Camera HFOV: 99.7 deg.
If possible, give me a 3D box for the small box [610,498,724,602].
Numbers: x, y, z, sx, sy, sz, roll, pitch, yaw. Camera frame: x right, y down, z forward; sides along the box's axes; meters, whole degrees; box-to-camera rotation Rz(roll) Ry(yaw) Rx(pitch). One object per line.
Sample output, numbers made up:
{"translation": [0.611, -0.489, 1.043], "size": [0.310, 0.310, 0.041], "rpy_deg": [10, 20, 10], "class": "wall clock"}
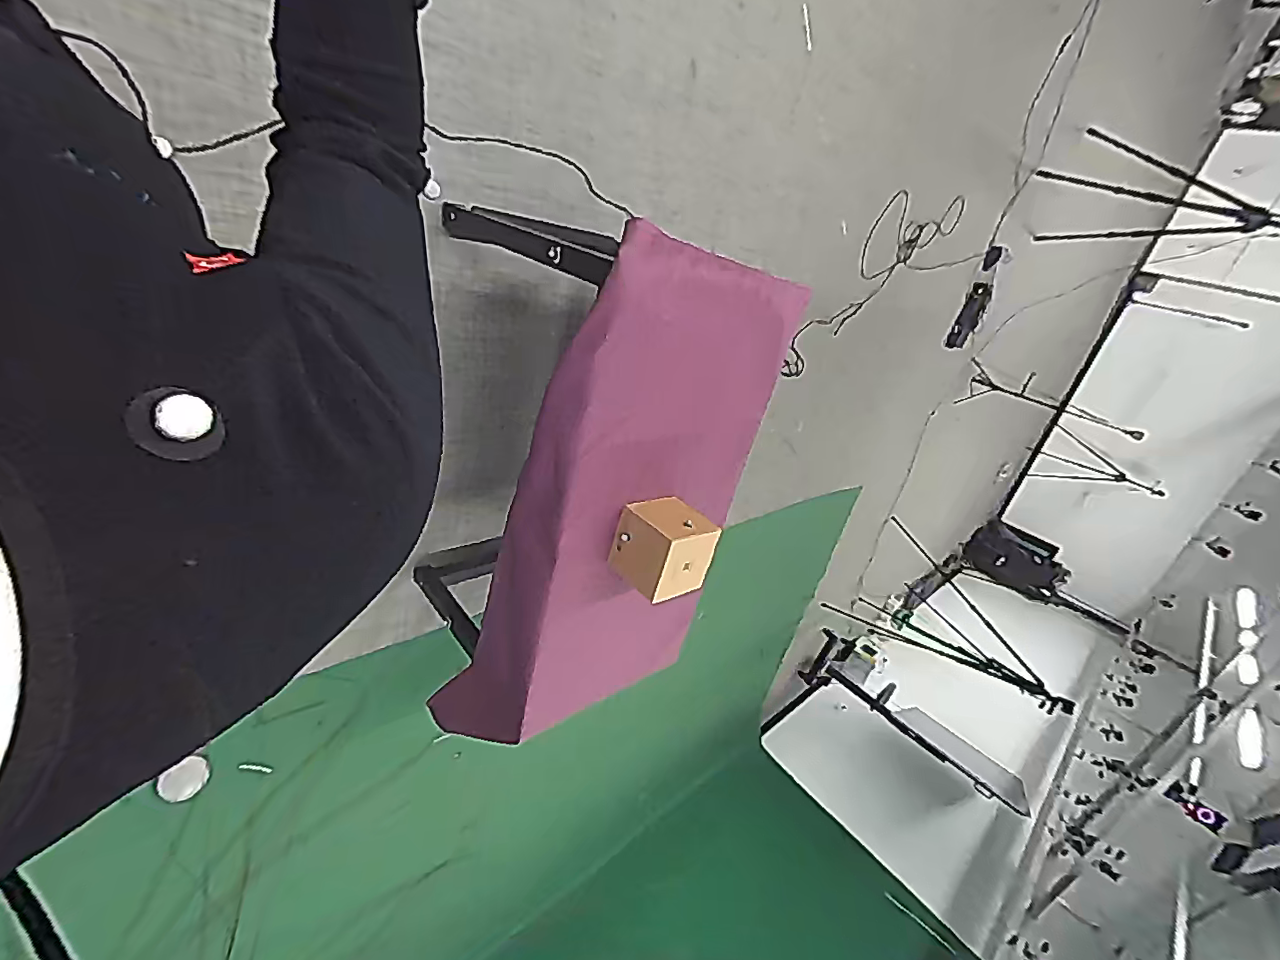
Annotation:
{"translation": [0.059, 0.153, 1.263], "size": [0.179, 0.176, 0.168], "rpy_deg": [-5, 120, -44], "class": "small box"}
